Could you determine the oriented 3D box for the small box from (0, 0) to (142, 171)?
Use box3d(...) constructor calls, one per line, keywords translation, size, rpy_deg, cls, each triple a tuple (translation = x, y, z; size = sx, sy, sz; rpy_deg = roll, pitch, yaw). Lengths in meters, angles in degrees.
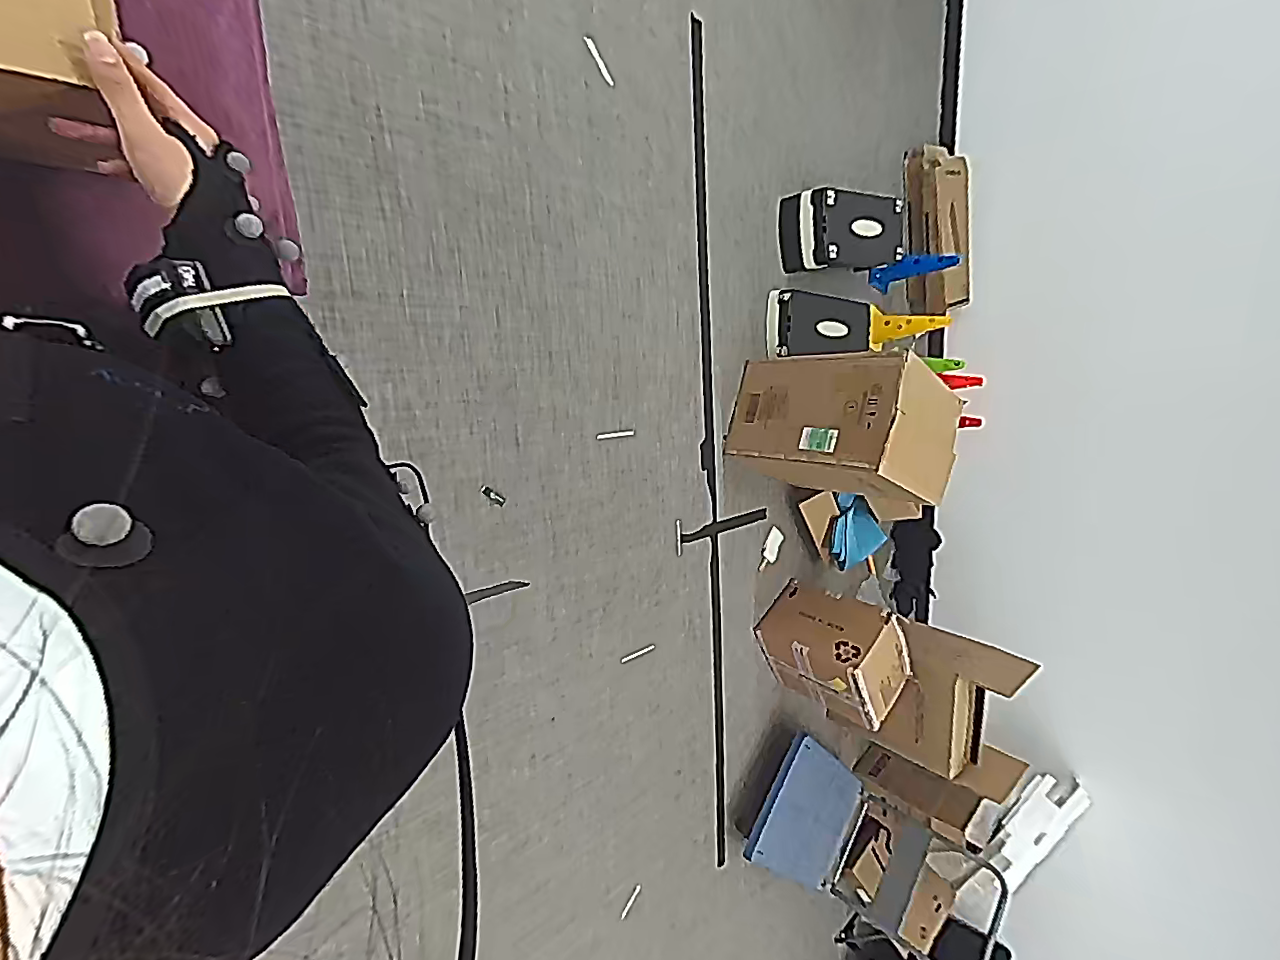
box3d(translation=(-0.445, -0.316, 0.332), size=(0.179, 0.176, 0.168), rpy_deg=(-9, 103, -37), cls="small box")
